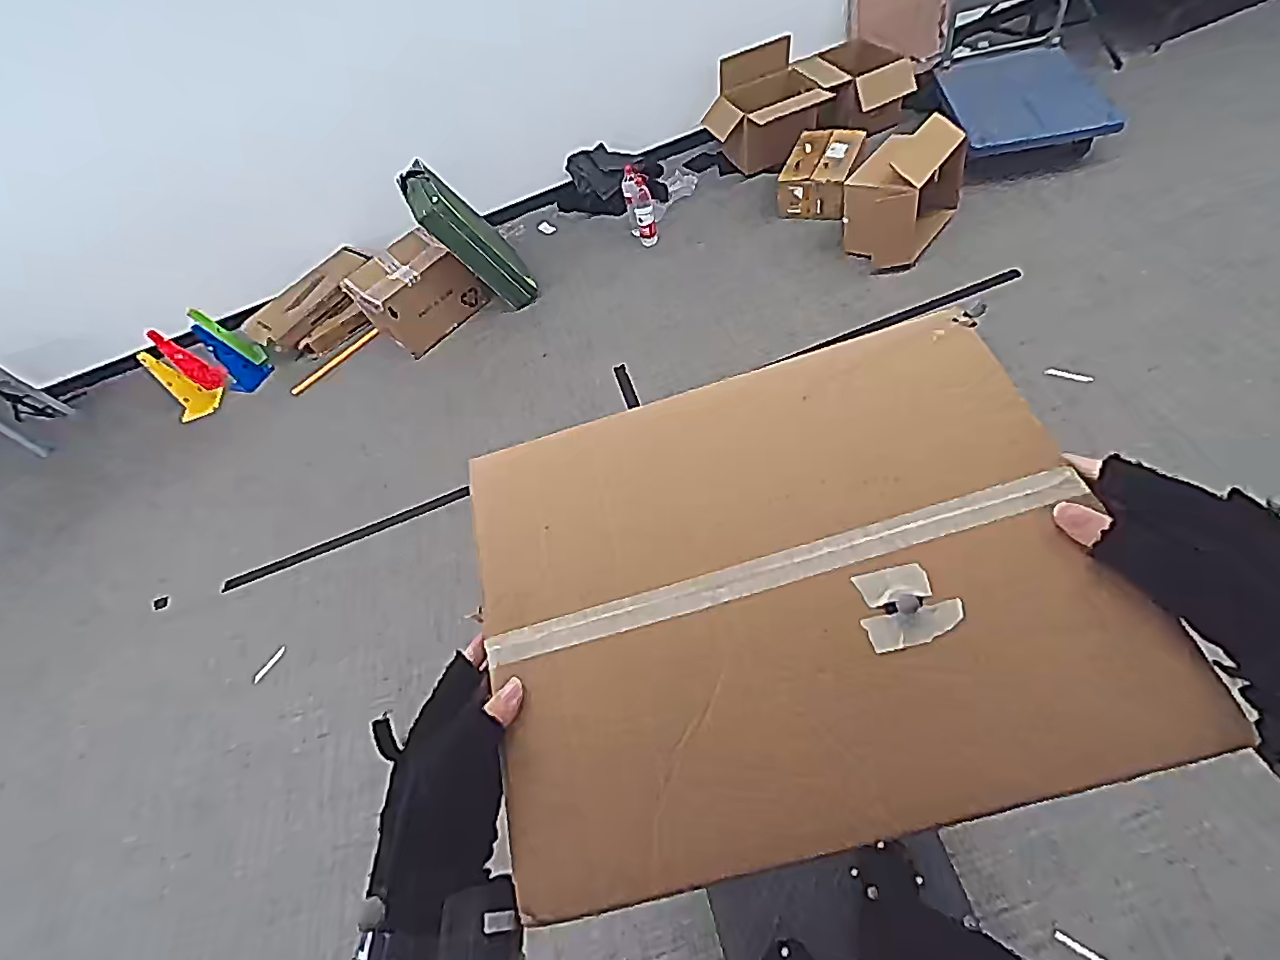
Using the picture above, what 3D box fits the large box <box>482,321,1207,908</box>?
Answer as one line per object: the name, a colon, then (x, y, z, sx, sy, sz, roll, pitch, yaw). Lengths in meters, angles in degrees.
large box: (0.117, 0.124, 0.508, 0.408, 0.320, 0.320, -17, 64, 3)
